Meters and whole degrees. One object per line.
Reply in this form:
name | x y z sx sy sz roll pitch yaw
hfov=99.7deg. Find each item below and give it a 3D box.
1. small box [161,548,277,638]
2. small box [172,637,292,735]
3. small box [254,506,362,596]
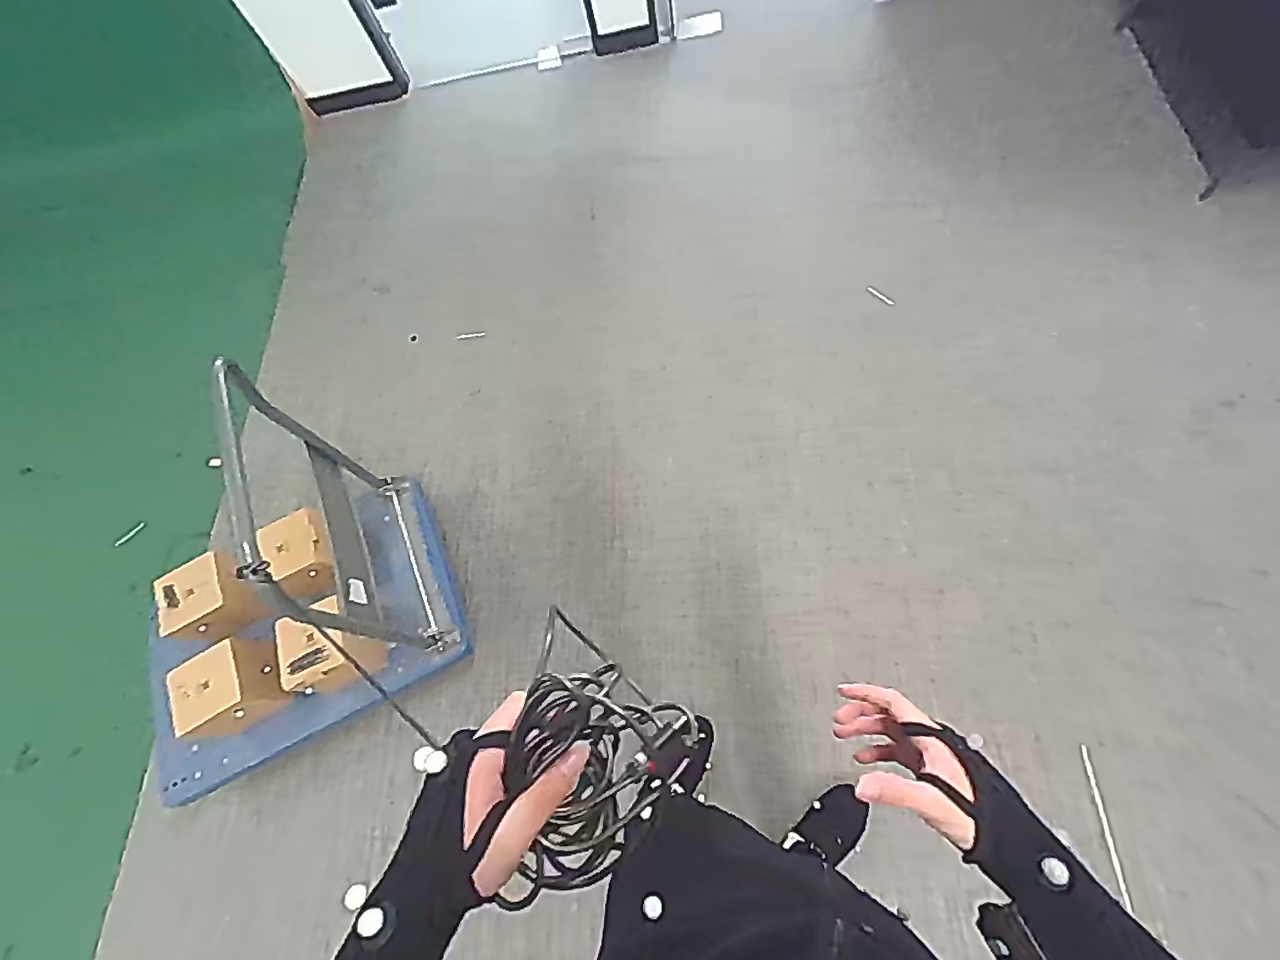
small box | -1.138 0.313 1.468 0.179 0.176 0.168 -29 67 -2
small box | -1.018 0.517 1.366 0.179 0.176 0.168 -31 66 -2
small box | -0.899 0.200 1.469 0.179 0.176 0.168 -26 67 -1
